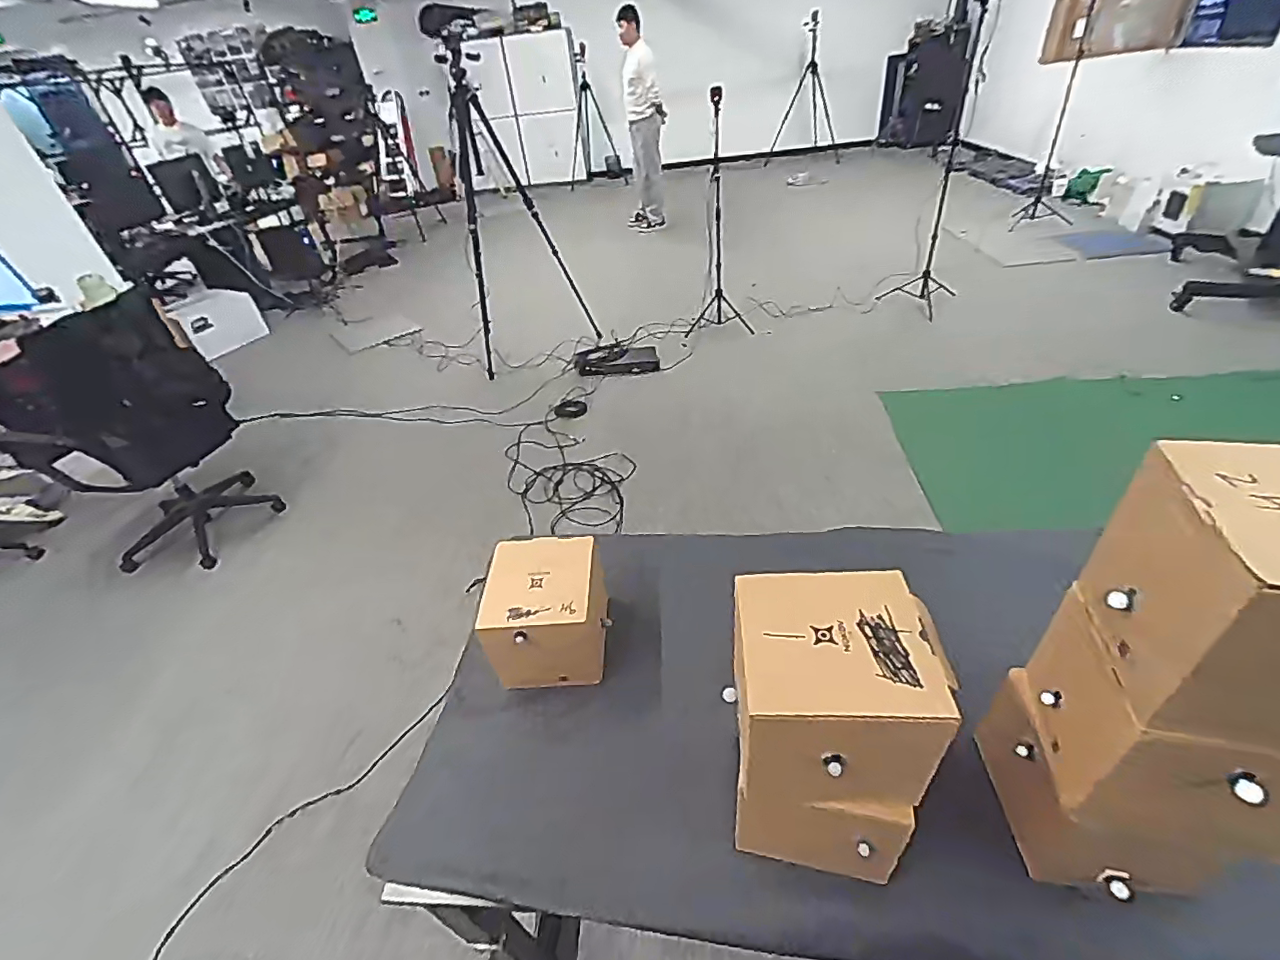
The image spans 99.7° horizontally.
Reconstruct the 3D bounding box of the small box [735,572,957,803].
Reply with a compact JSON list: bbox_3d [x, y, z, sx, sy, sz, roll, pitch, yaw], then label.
[{"bbox_3d":[0.191,0.214,0.565,0.179,0.176,0.168,-2,37,8],"label":"small box"}]

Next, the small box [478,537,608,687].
[{"bbox_3d":[-0.146,0.216,0.891,0.168,0.176,0.179,-4,39,4],"label":"small box"}]

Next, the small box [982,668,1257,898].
[{"bbox_3d":[0.525,0.339,0.616,0.168,0.176,0.179,-3,38,9],"label":"small box"}]

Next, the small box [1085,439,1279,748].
[{"bbox_3d":[0.489,0.088,0.408,0.179,0.176,0.168,5,38,19],"label":"small box"}]

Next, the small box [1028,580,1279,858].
[{"bbox_3d":[0.505,0.220,0.506,0.179,0.176,0.168,4,39,17],"label":"small box"}]
